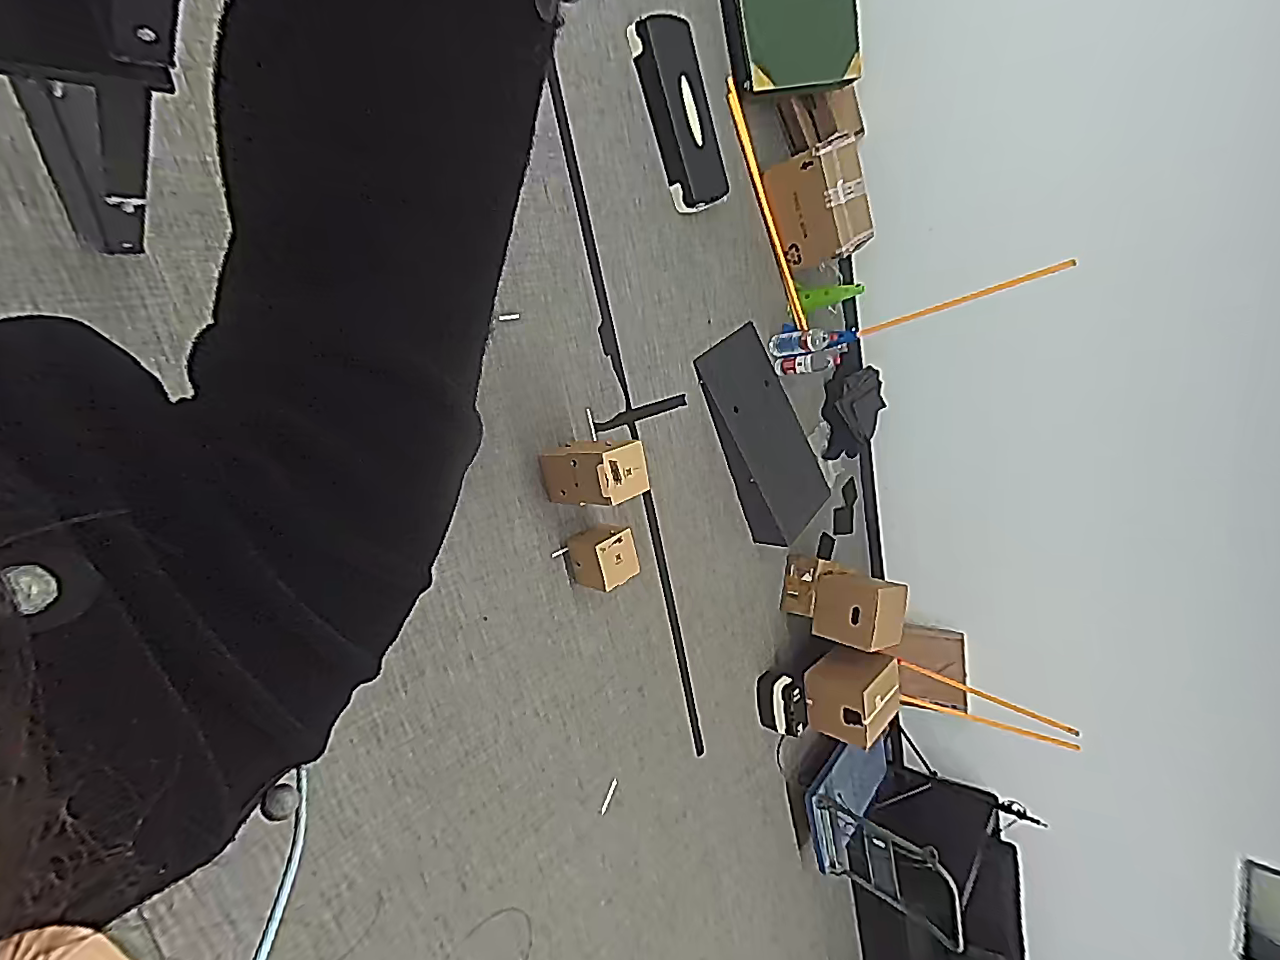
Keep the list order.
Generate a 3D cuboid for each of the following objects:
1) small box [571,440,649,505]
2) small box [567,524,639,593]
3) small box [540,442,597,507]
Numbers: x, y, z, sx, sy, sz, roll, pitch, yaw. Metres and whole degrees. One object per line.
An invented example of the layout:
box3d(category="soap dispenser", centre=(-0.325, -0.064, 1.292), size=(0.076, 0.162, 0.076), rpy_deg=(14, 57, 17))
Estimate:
box3d(category="small box", centre=(-0.100, -0.026, 1.694), size=(0.179, 0.176, 0.168), rpy_deg=(-23, 109, -43))
box3d(category="small box", centre=(-0.132, 0.271, 1.907), size=(0.168, 0.176, 0.179), rpy_deg=(-25, 110, -41))
box3d(category="small box", centre=(-0.210, -0.026, 1.815), size=(0.168, 0.176, 0.179), rpy_deg=(-26, 110, -41))
